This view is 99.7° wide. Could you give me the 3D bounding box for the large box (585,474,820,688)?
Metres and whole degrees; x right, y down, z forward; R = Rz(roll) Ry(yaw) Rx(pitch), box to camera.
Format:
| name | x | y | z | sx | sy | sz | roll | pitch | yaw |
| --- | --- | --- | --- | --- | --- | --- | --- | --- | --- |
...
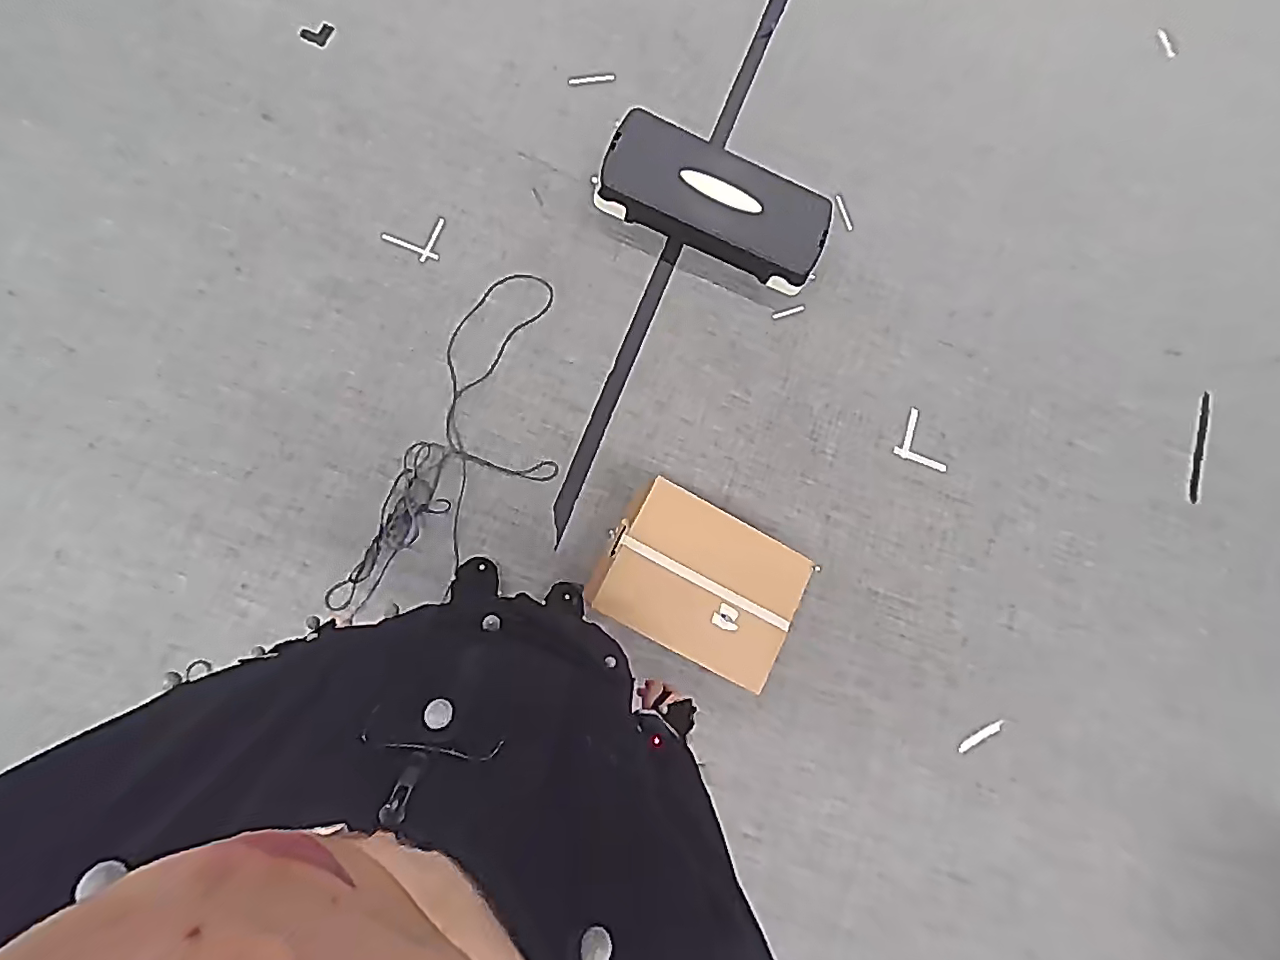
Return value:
| name | x | y | z | sx | sy | sz | roll | pitch | yaw |
| --- | --- | --- | --- | --- | --- | --- | --- | --- | --- |
| large box | 0.124 | 0.228 | 1.267 | 0.408 | 0.320 | 0.320 | 29 | 79 | -6 |
